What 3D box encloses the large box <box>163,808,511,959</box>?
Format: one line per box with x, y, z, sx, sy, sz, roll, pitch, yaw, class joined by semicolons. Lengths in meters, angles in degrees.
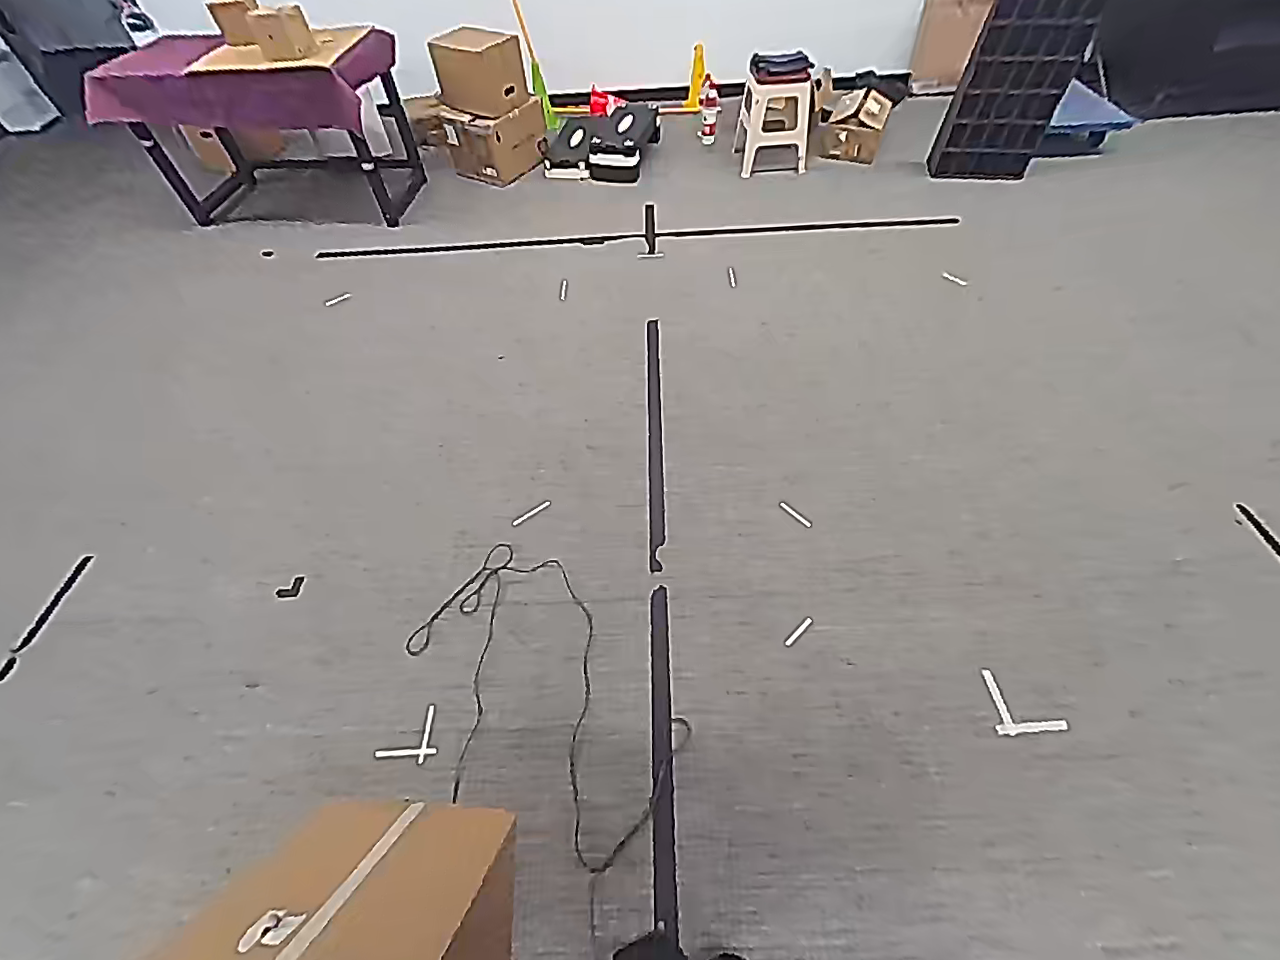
-0.373;0.685;0.672;0.320;0.408;0.320;1;88;4;large box
